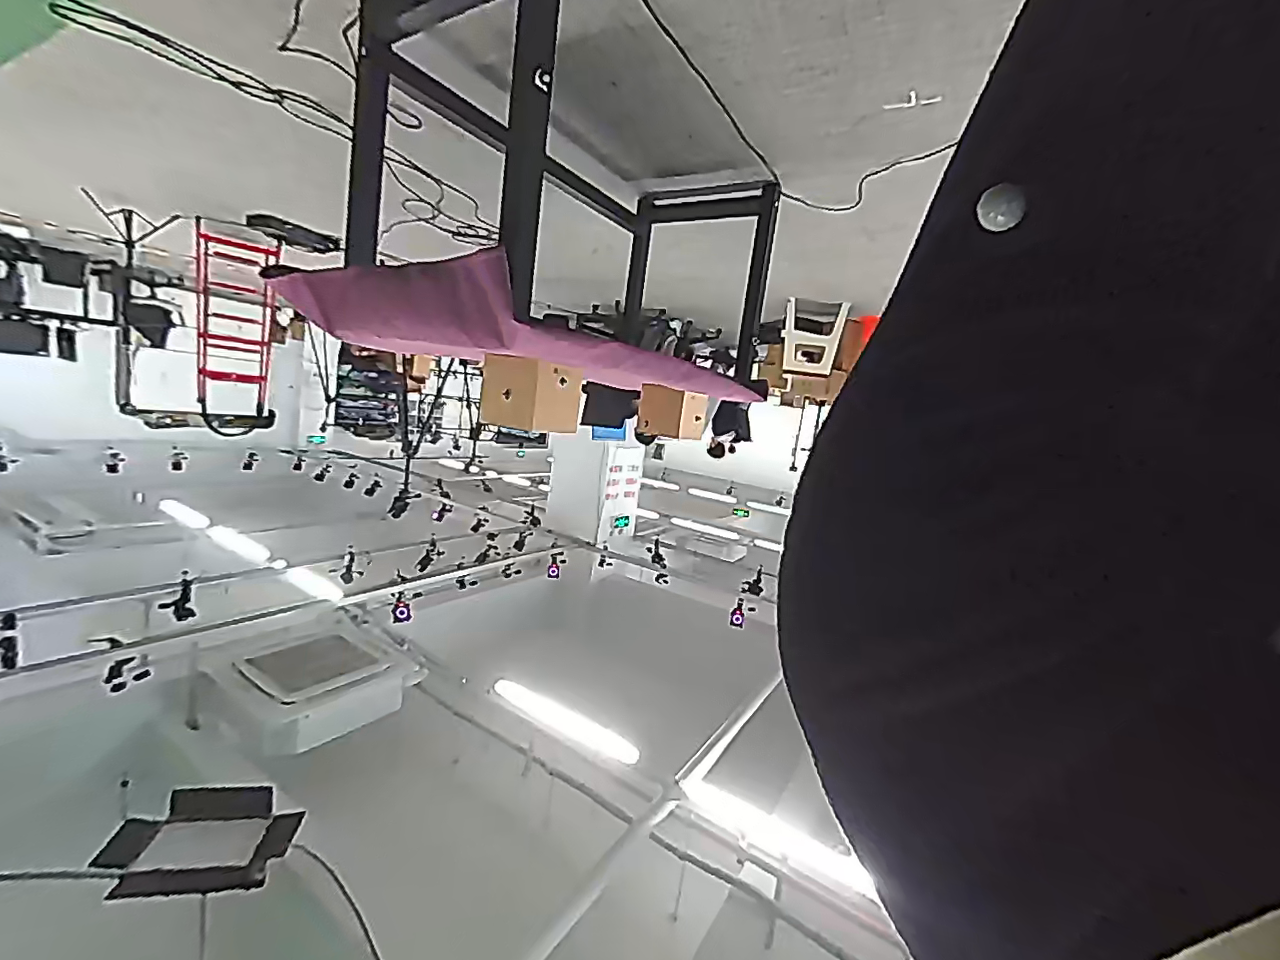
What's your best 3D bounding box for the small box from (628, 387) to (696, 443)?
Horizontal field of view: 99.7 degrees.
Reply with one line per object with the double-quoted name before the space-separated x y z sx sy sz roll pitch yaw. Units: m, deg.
"small box" 0.079 -0.222 1.839 0.179 0.176 0.168 13 -171 32
